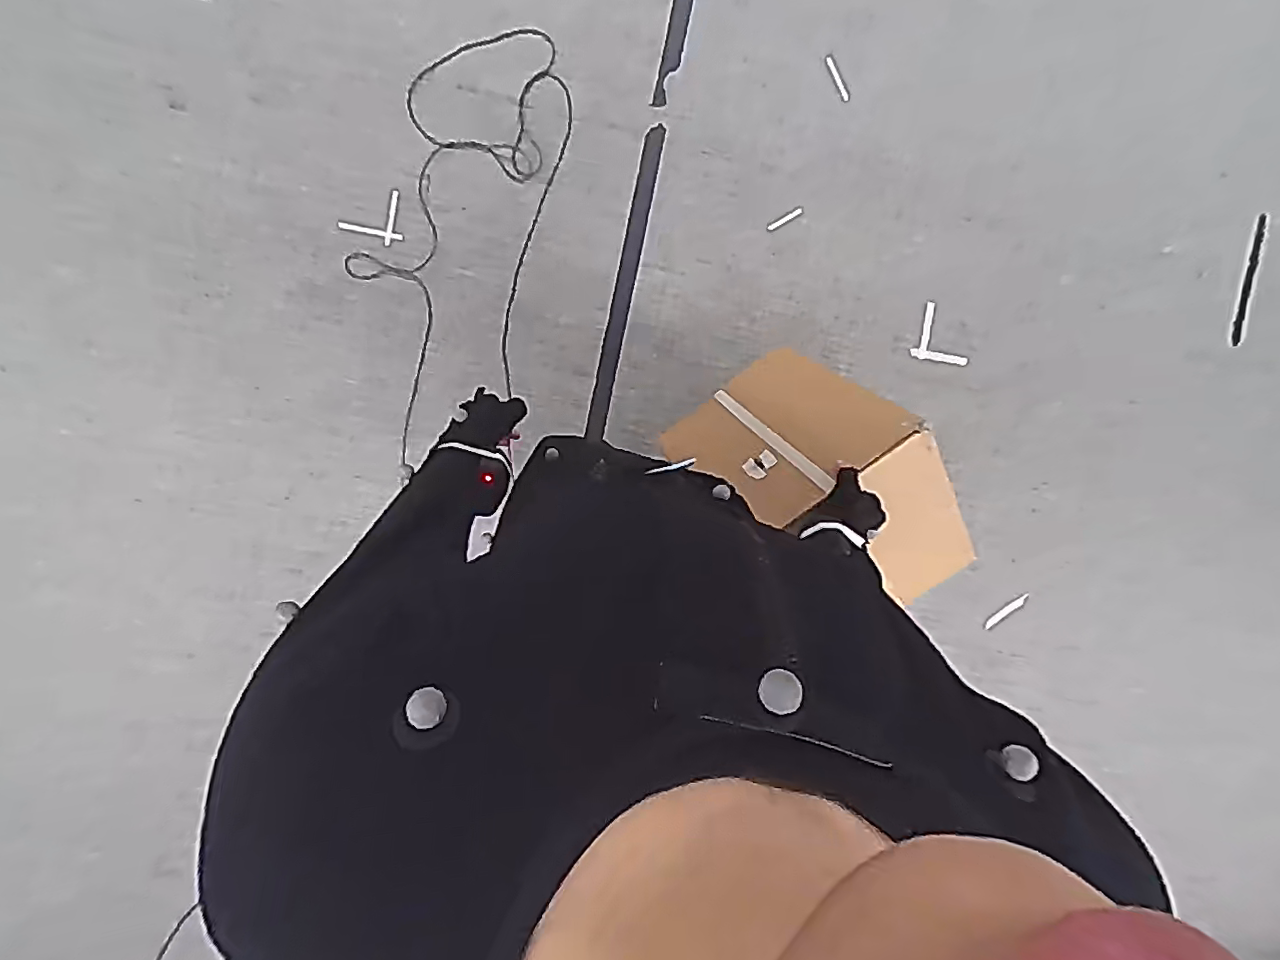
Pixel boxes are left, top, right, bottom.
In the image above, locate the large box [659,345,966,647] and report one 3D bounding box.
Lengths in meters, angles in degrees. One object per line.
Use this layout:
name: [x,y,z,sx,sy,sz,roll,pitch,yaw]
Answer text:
large box: [0.293,0.012,0.990,0.320,0.408,0.320,-37,124,5]
